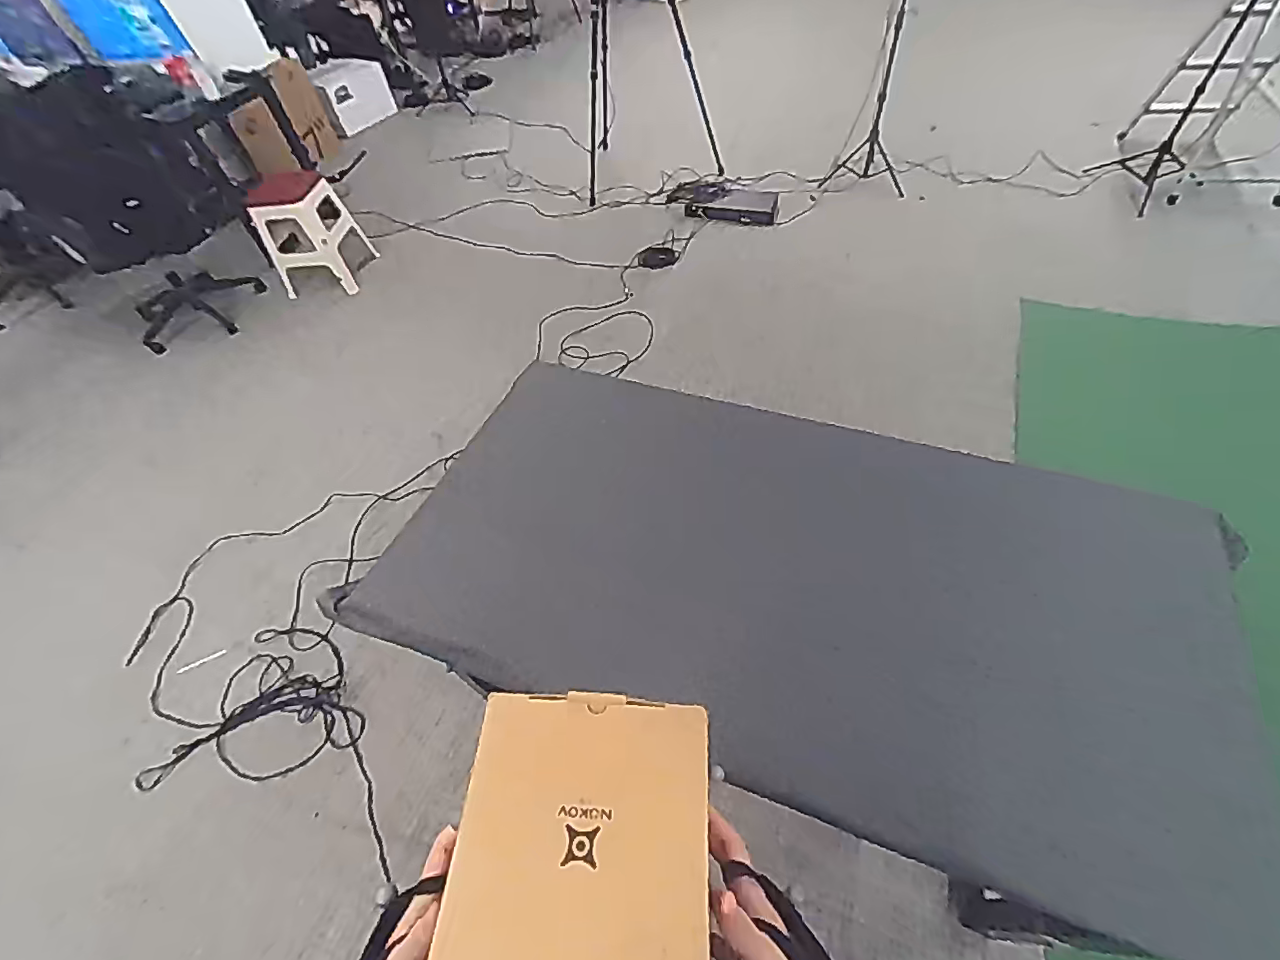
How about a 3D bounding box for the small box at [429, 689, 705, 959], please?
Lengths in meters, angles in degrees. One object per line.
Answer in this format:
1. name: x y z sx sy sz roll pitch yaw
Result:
1. small box: -0.037 0.281 0.419 0.168 0.176 0.179 3 51 2
